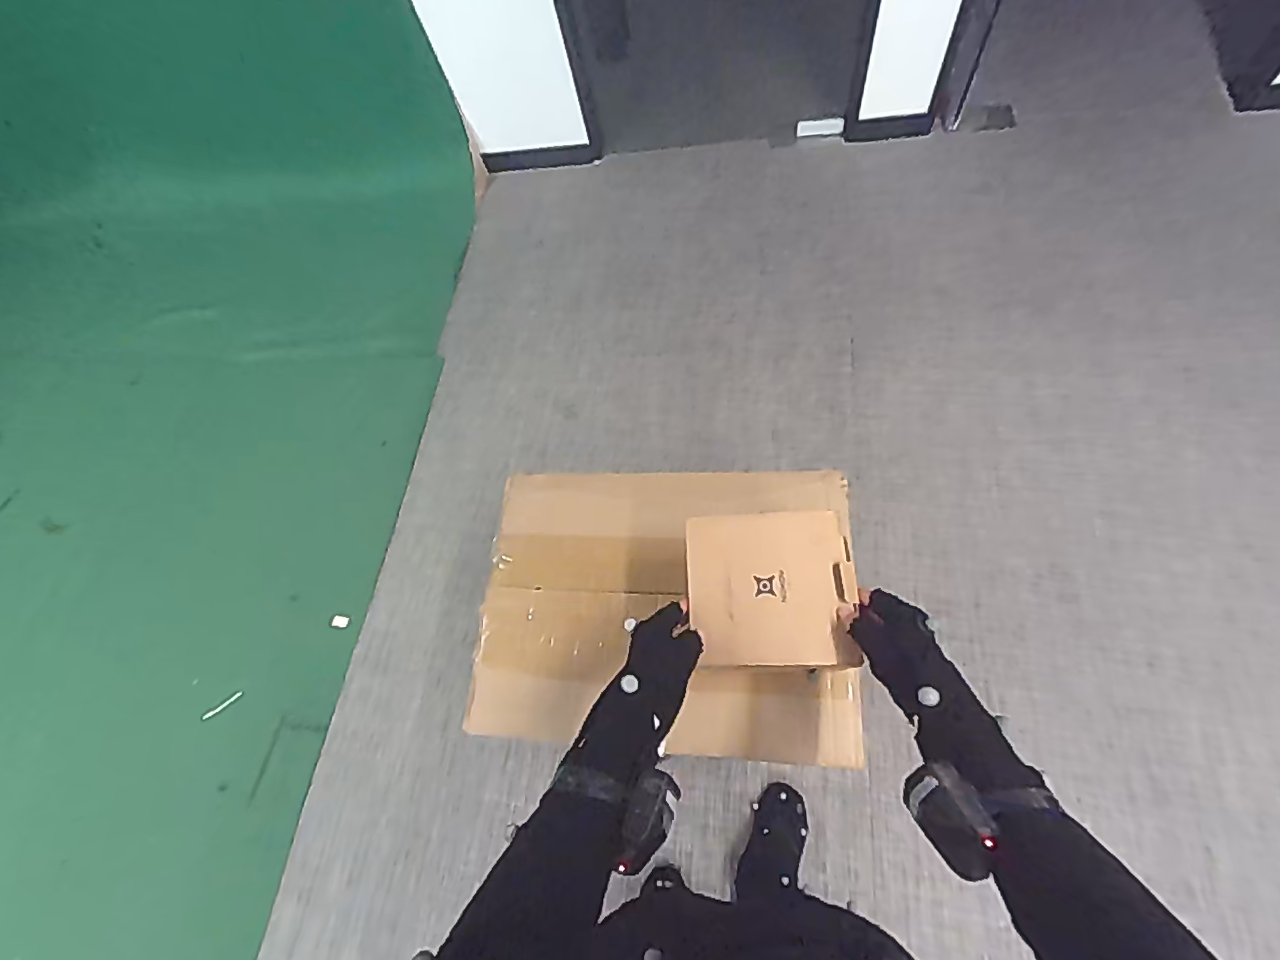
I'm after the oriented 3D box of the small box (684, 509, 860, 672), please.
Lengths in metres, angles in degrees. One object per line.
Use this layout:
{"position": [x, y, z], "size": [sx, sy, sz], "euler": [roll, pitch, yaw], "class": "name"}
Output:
{"position": [0.151, 0.142, 0.659], "size": [0.179, 0.176, 0.168], "euler": [-5, 67, 10], "class": "small box"}
